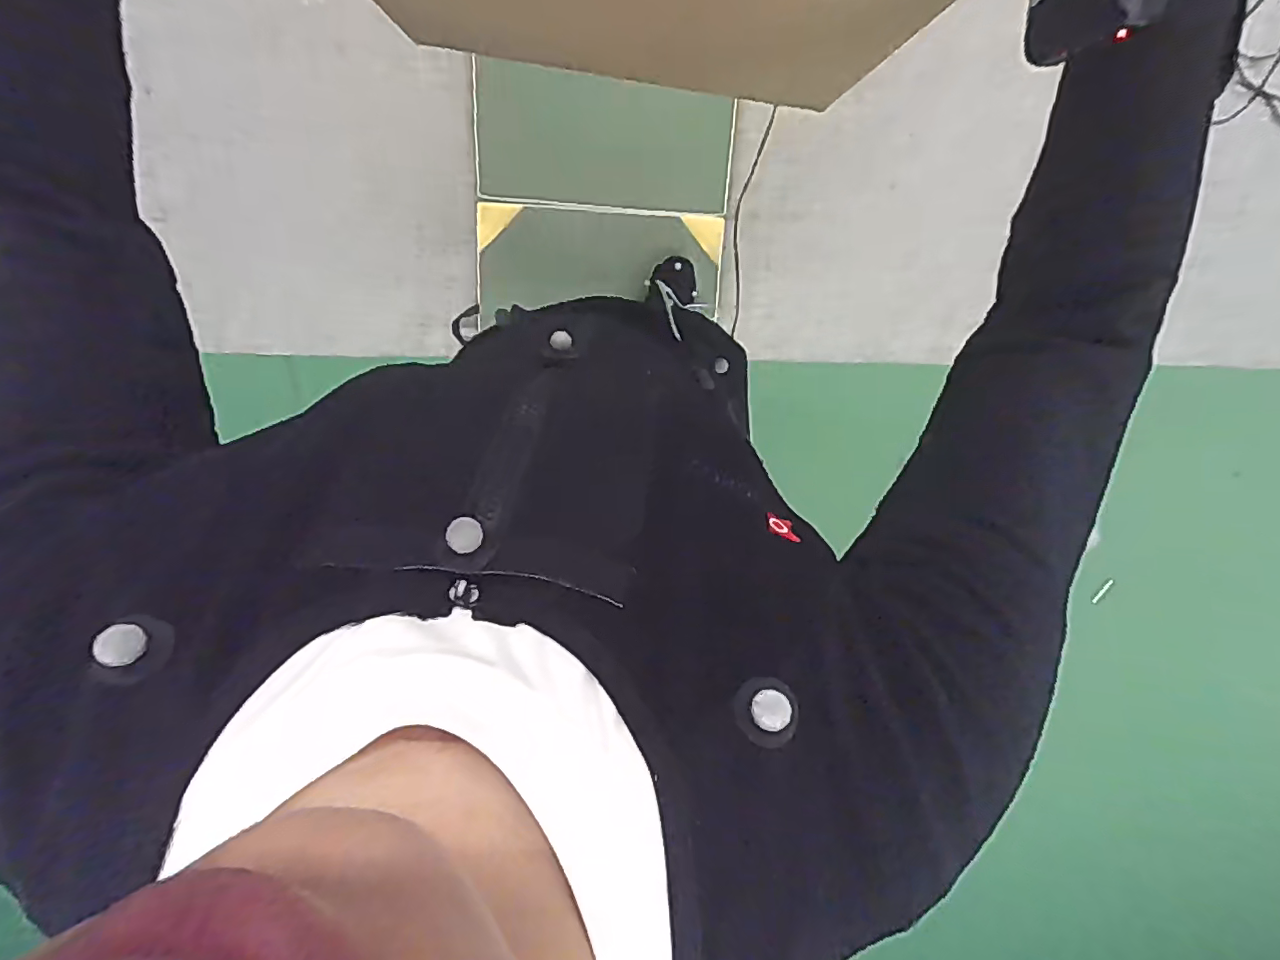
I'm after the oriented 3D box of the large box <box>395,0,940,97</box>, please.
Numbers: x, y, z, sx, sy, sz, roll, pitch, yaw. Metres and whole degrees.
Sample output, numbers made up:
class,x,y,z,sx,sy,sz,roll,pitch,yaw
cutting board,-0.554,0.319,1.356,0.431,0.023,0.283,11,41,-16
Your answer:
class,x,y,z,sx,sy,sz,roll,pitch,yaw
large box,0.012,-0.482,0.331,0.408,0.320,0.320,6,112,-4
